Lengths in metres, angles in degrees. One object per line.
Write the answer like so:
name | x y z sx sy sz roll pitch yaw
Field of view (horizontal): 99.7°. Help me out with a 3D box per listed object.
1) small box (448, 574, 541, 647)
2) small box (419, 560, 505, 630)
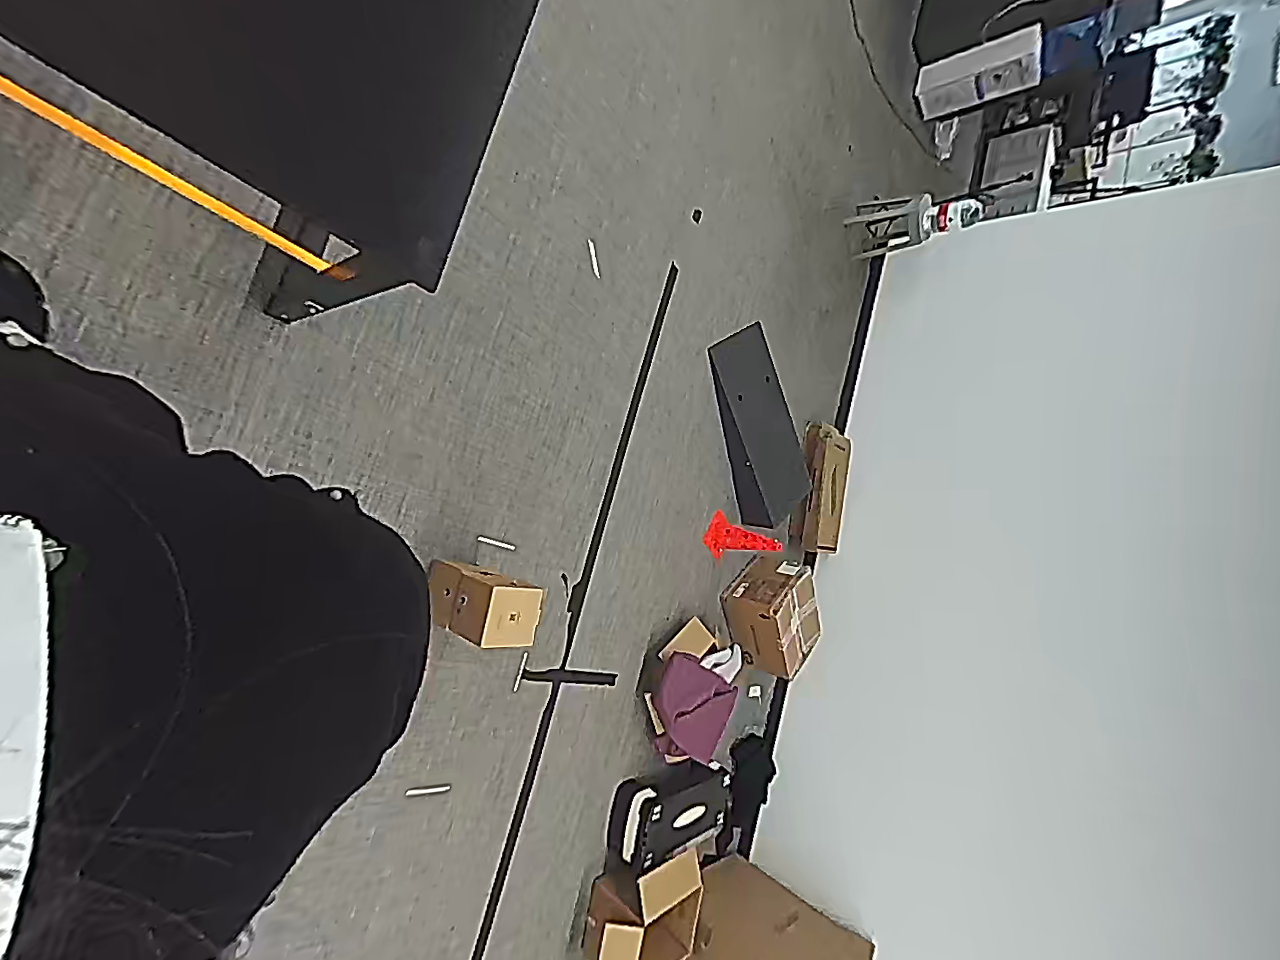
small box | -0.412 0.367 1.530 0.179 0.176 0.168 16 82 -47
small box | -0.540 0.347 1.630 0.168 0.176 0.179 21 80 -47
